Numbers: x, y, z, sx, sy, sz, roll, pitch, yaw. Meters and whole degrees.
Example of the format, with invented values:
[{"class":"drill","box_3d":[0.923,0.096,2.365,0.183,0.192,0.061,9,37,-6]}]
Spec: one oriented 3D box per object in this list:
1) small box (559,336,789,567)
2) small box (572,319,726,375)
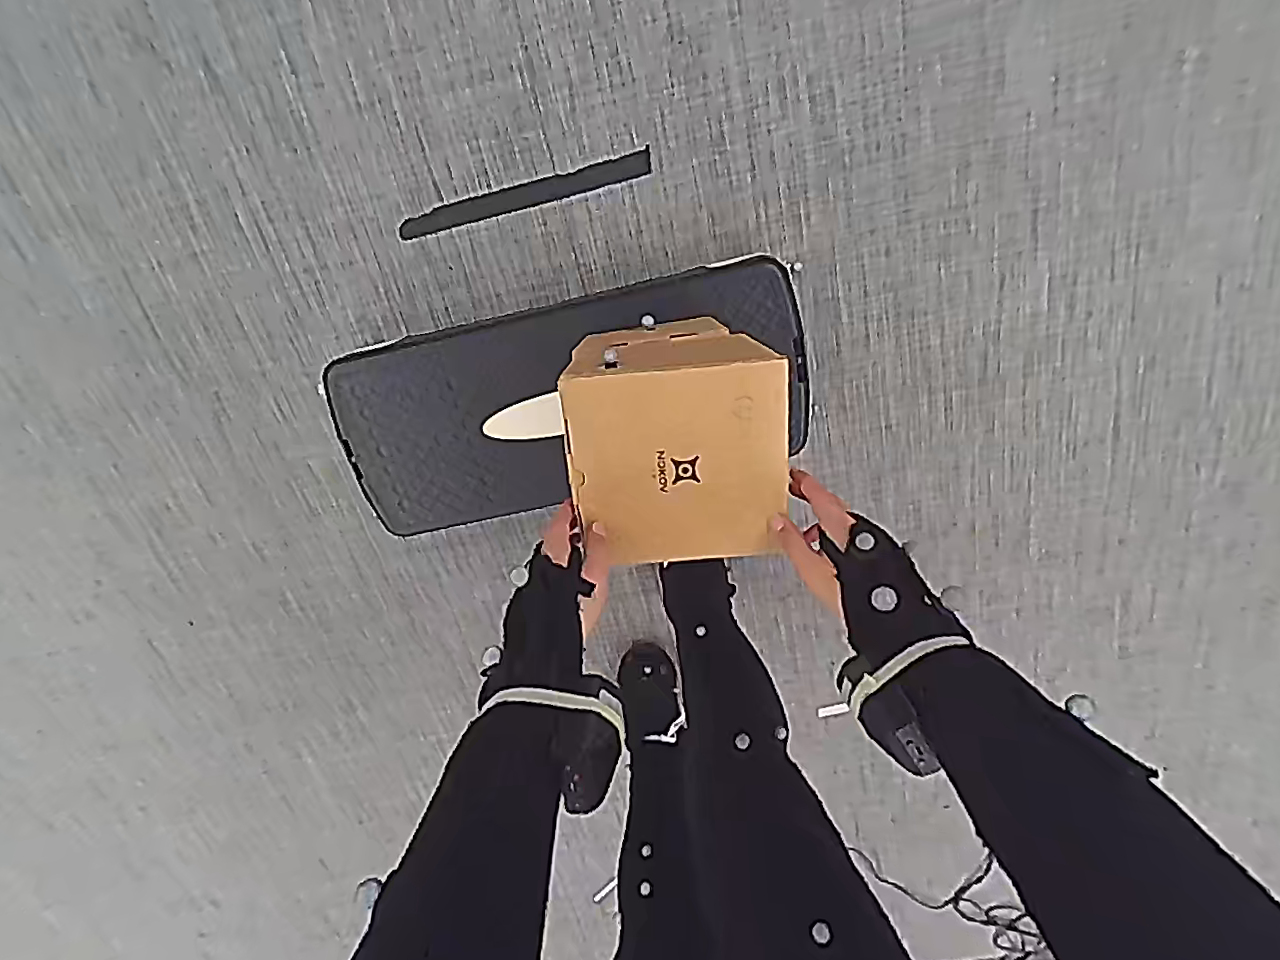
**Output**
[{"class":"small box","box_3d":[0.031,-0.037,0.506,0.179,0.176,0.168,-5,111,3]},{"class":"small box","box_3d":[0.021,-0.091,0.659,0.168,0.176,0.179,-8,110,3]}]
